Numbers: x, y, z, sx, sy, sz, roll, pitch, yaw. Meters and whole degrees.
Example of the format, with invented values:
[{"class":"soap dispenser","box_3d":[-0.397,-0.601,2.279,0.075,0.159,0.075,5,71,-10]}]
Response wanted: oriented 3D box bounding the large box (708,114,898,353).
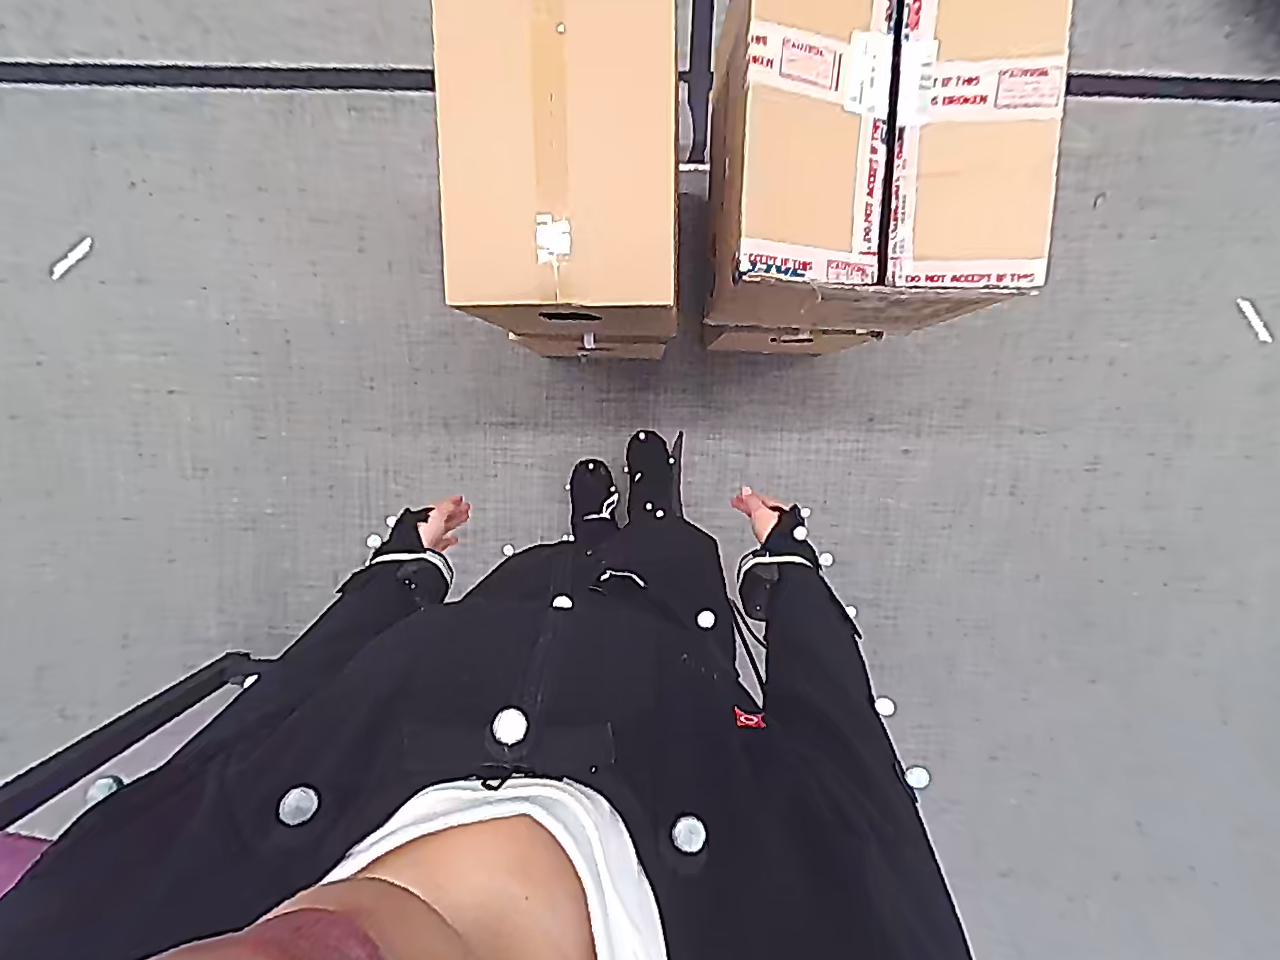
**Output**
[{"class":"large box","box_3d":[0.320,-0.494,1.164,0.320,0.320,0.408,1,98,0]}]
